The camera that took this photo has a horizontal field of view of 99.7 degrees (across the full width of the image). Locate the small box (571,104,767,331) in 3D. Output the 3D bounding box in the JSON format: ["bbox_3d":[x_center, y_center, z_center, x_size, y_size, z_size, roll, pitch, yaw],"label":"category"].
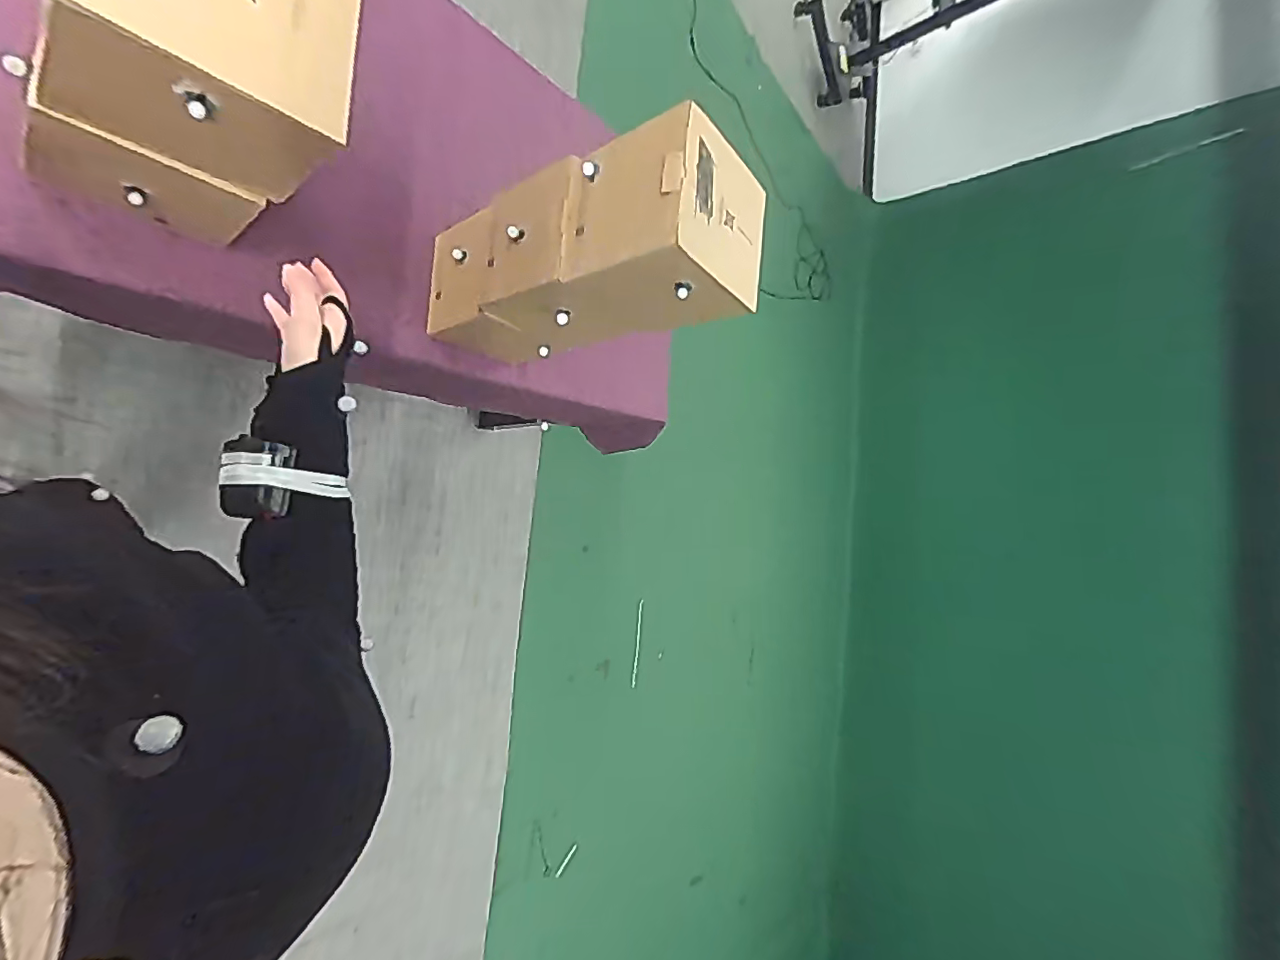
[{"bbox_3d":[0.036,-0.297,0.662,0.179,0.176,0.168,15,79,-50],"label":"small box"}]

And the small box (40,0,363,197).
[{"bbox_3d":[-0.360,-0.370,0.450,0.179,0.176,0.168,8,86,-50],"label":"small box"}]

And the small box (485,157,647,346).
[{"bbox_3d":[-0.095,-0.301,0.762,0.179,0.176,0.168,14,80,-48],"label":"small box"}]

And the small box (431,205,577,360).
[{"bbox_3d":[-0.215,-0.302,0.874,0.179,0.176,0.168,8,84,-50],"label":"small box"}]

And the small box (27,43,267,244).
[{"bbox_3d":[-0.488,-0.372,0.552,0.168,0.176,0.179,11,82,-50],"label":"small box"}]
